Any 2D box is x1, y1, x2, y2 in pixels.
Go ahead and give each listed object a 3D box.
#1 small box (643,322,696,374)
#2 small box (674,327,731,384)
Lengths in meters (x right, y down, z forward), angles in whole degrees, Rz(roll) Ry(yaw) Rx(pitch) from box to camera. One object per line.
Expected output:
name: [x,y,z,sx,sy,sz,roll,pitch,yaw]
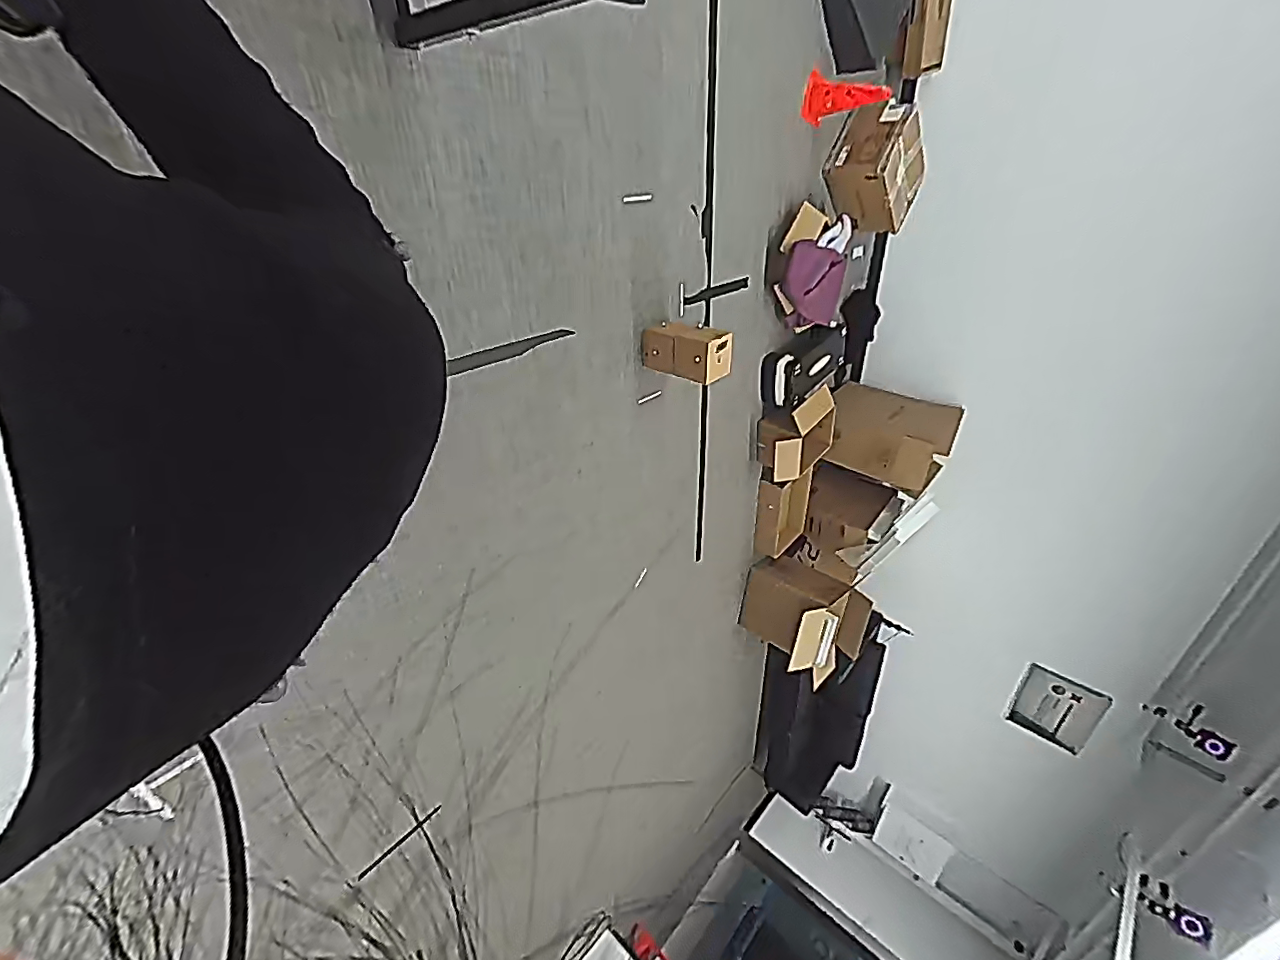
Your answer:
small box: [0.127,-0.564,2.288,0.179,0.176,0.168,-29,131,-38]
small box: [0.251,-0.512,2.189,0.168,0.176,0.179,-31,133,-38]
